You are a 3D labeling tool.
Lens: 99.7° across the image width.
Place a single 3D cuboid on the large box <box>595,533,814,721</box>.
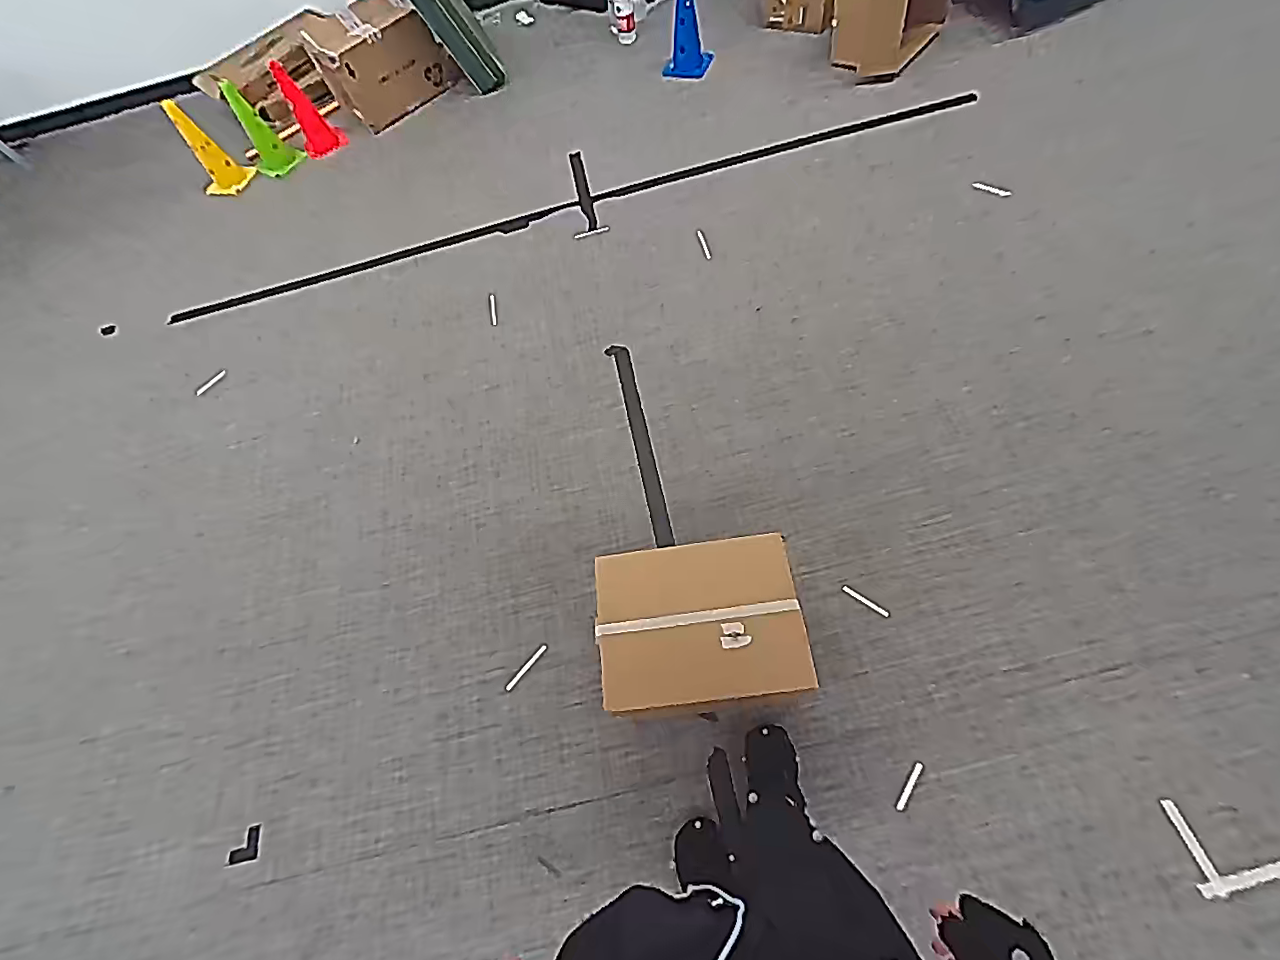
[{"bbox_3d":[0.129,0.342,1.209,0.408,0.320,0.320,-8,63,4],"label":"large box"}]
